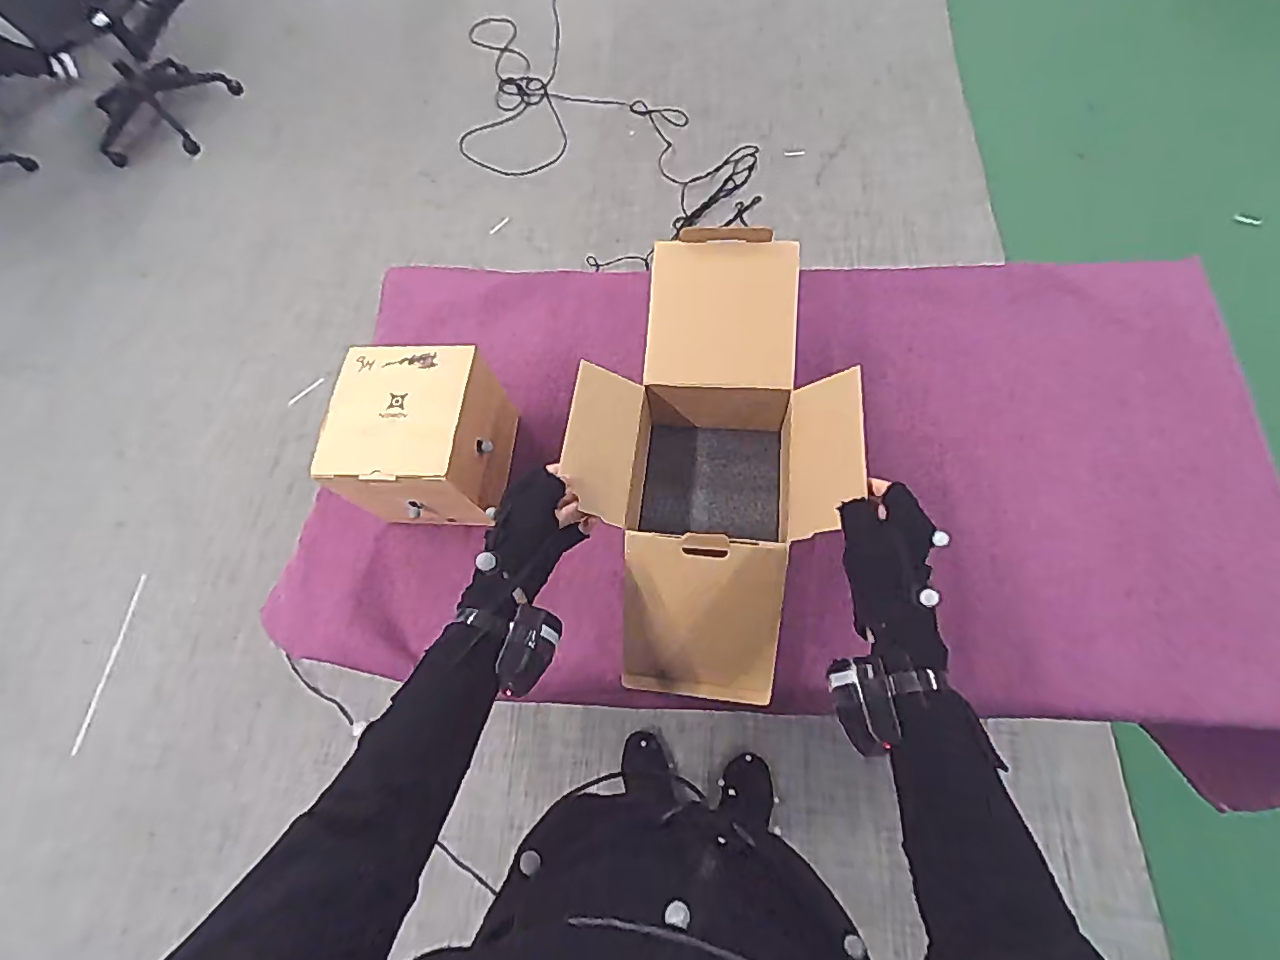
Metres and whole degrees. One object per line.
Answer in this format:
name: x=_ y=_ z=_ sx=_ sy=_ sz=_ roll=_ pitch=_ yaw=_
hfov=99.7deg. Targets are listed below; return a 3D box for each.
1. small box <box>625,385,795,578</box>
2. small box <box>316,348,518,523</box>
small box: x=0.085 y=0.009 z=0.632 sx=0.168 sy=0.176 sz=0.179 roll=4 pitch=67 yaw=8
small box: x=-0.269 y=-0.049 z=0.700 sx=0.168 sy=0.176 sz=0.179 roll=1 pitch=68 yaw=7
